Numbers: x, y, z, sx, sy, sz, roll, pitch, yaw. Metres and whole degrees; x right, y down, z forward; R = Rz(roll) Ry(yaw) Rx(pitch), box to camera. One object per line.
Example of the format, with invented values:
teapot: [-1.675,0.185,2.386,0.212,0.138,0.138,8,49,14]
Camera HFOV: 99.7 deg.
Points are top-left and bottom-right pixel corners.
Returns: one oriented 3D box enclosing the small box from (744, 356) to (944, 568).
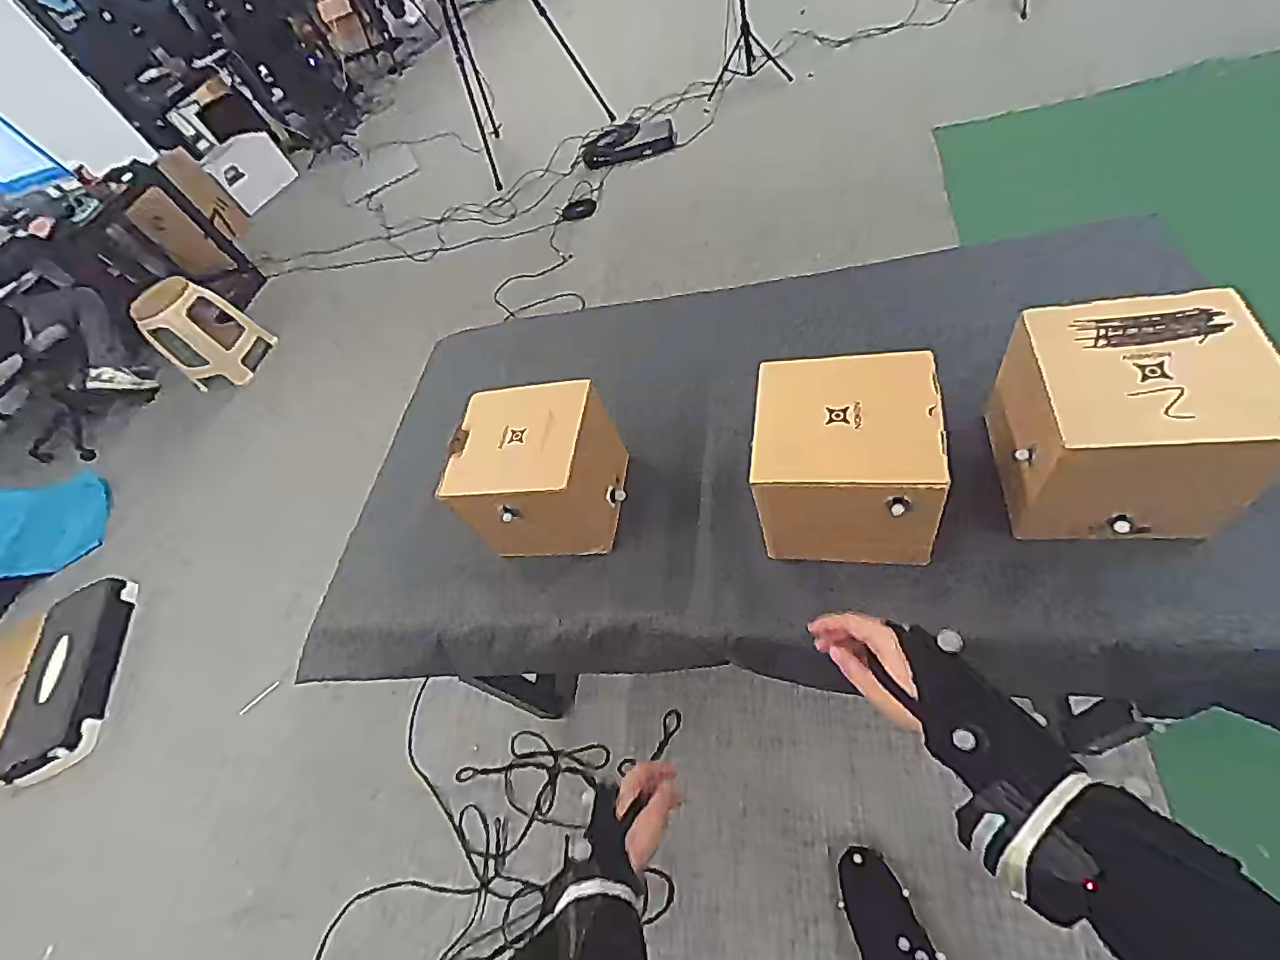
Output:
small box: [0.219,-0.014,0.597,0.179,0.176,0.168,0,56,19]

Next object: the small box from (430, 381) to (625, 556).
small box: [-0.135,-0.007,0.717,0.179,0.176,0.168,-3,56,16]
